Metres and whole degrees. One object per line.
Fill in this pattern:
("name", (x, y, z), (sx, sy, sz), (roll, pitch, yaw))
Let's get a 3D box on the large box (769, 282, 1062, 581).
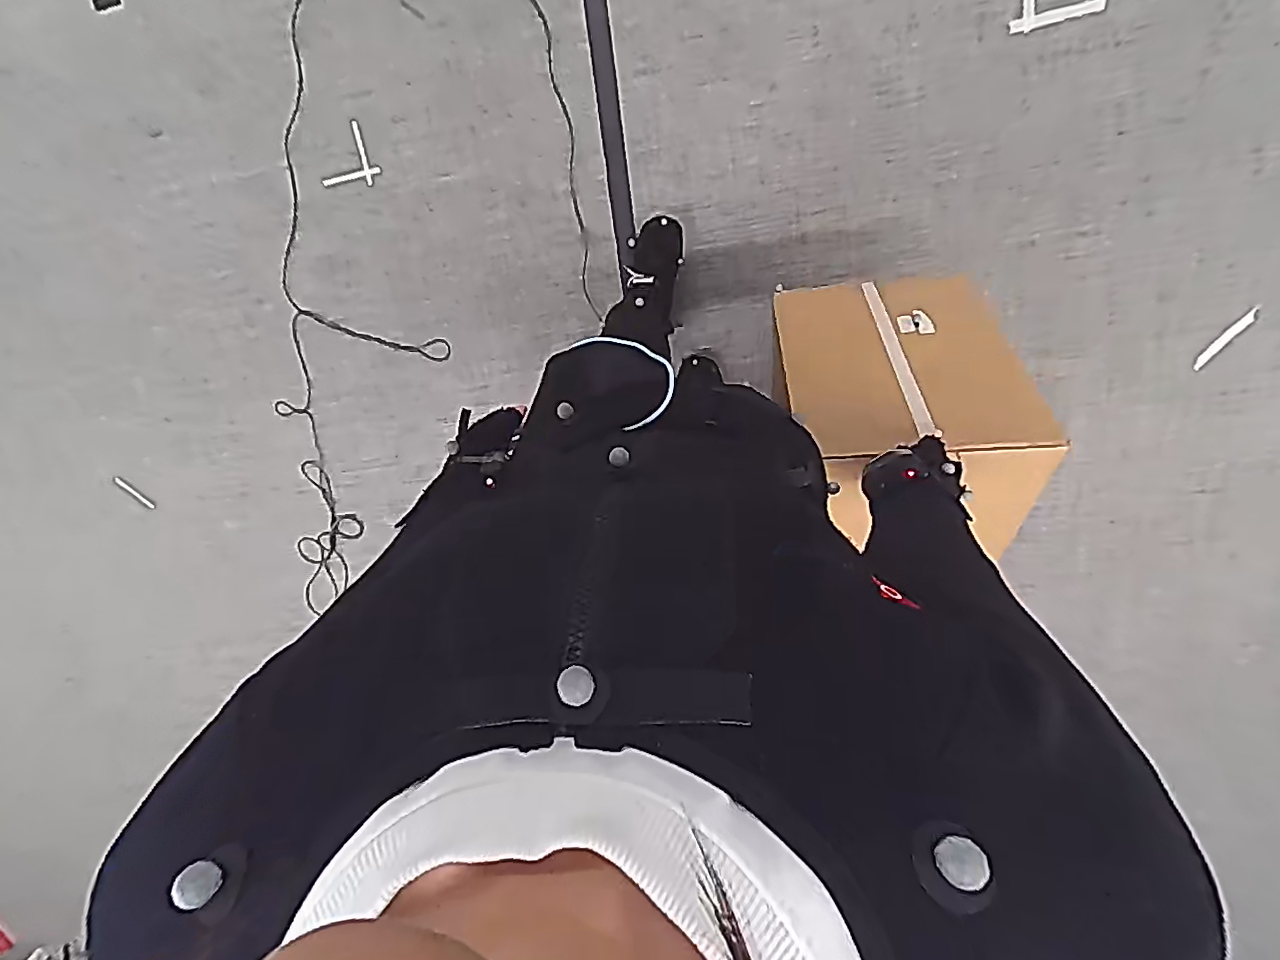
("large box", (0.398, -0.082, 0.918), (0.320, 0.408, 0.320), (-3, 137, 8))
